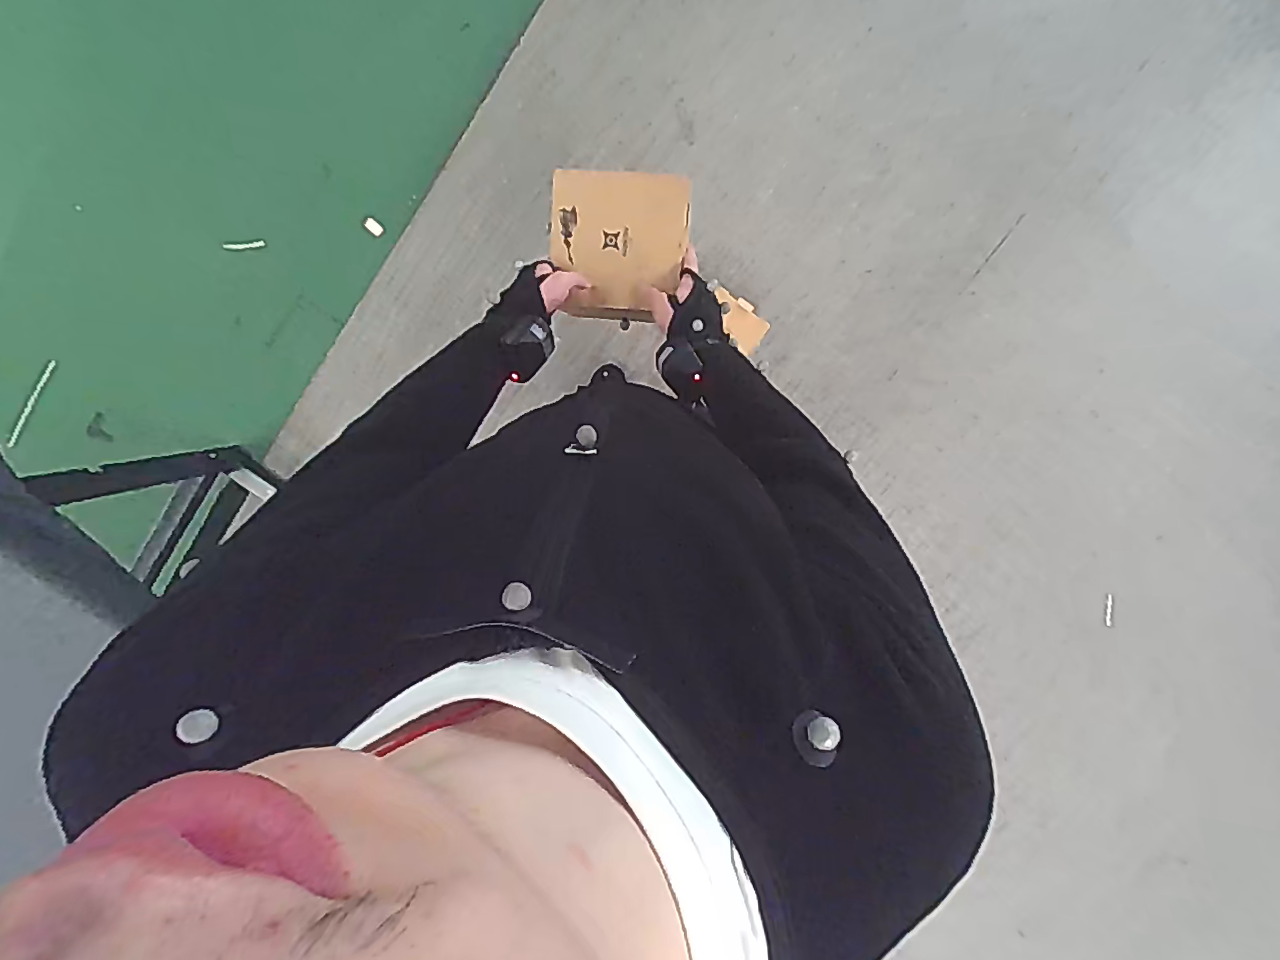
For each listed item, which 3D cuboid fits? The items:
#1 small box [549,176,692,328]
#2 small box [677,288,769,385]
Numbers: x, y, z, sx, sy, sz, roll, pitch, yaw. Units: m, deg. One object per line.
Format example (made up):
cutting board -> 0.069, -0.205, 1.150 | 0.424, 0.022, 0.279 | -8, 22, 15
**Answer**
small box -> -0.023, -0.311, 0.770 | 0.179, 0.176, 0.168 | 5, 102, 3
small box -> 0.207, -0.367, 1.417 | 0.168, 0.176, 0.179 | 39, 99, -3
